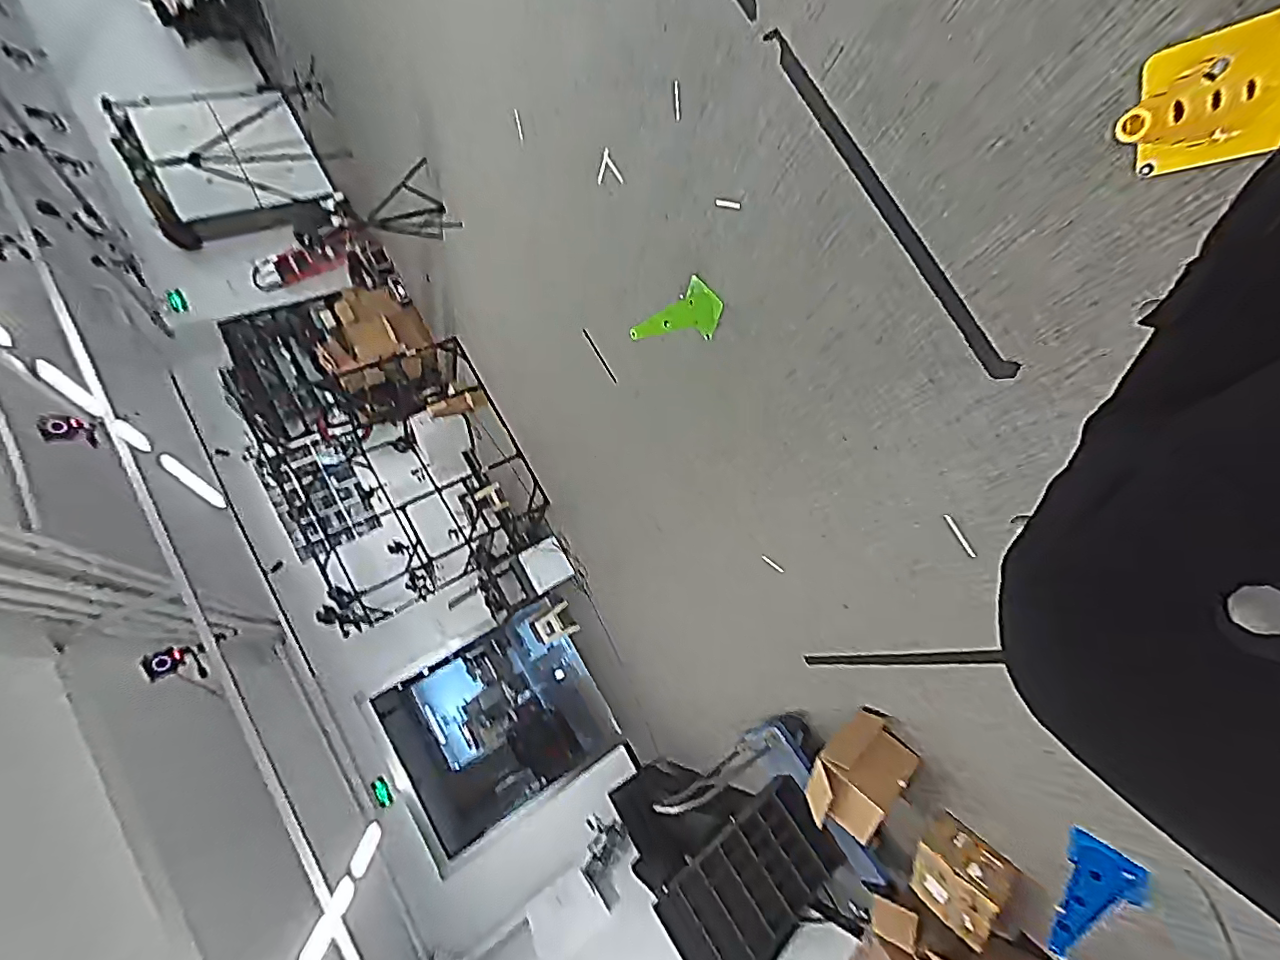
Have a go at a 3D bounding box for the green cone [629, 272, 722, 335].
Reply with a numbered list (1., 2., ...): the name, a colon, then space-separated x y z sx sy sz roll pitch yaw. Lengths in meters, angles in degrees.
1. green cone: 0.117 -0.656 2.155 0.202 0.368 0.200 54 153 22
